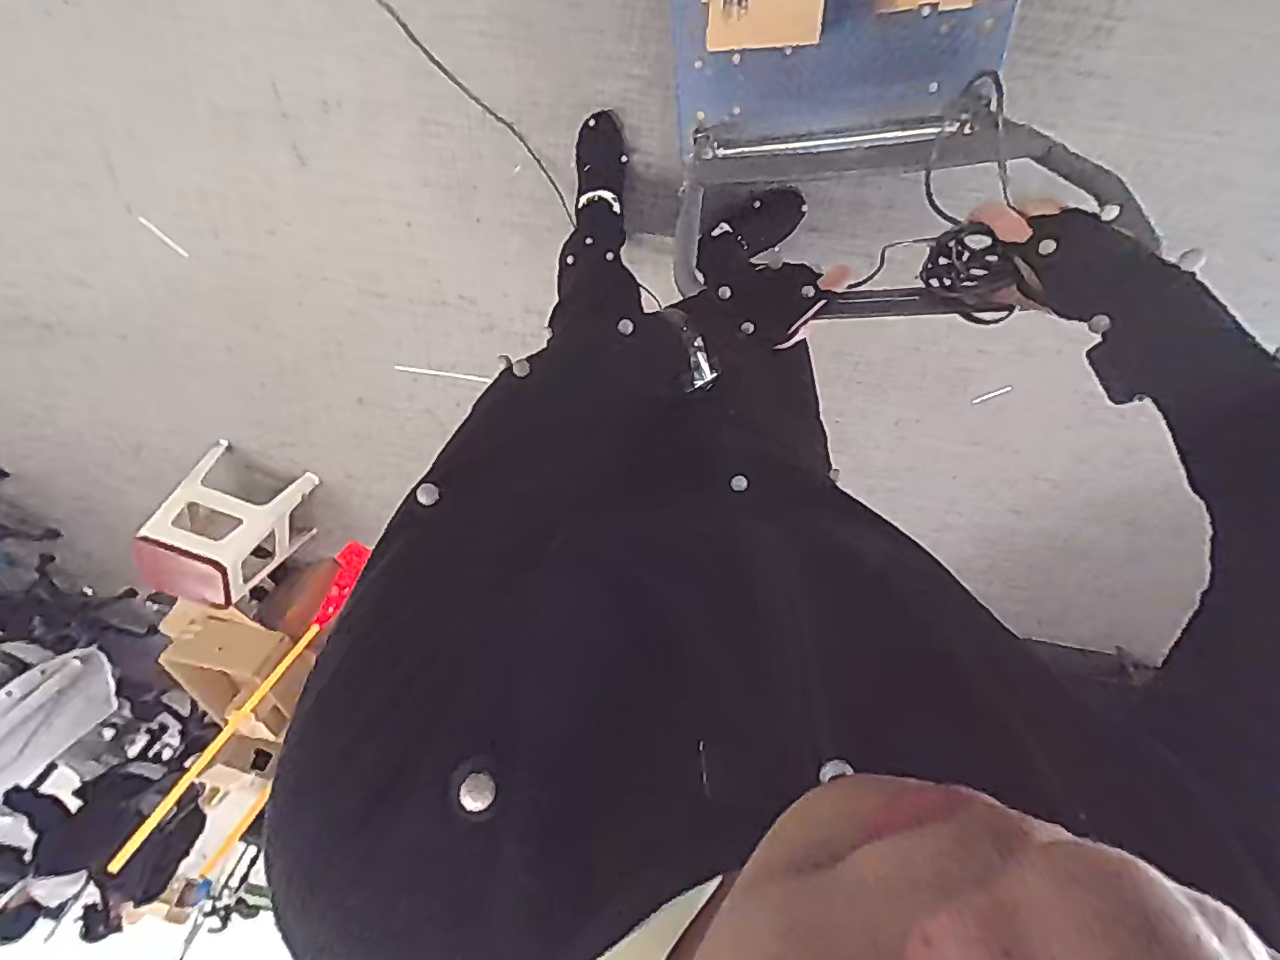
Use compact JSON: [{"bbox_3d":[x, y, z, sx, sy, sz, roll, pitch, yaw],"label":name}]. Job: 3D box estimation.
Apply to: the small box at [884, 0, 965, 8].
[{"bbox_3d":[0.464,-0.811,0.786,0.168,0.176,0.179,1,131,10],"label":"small box"}]
